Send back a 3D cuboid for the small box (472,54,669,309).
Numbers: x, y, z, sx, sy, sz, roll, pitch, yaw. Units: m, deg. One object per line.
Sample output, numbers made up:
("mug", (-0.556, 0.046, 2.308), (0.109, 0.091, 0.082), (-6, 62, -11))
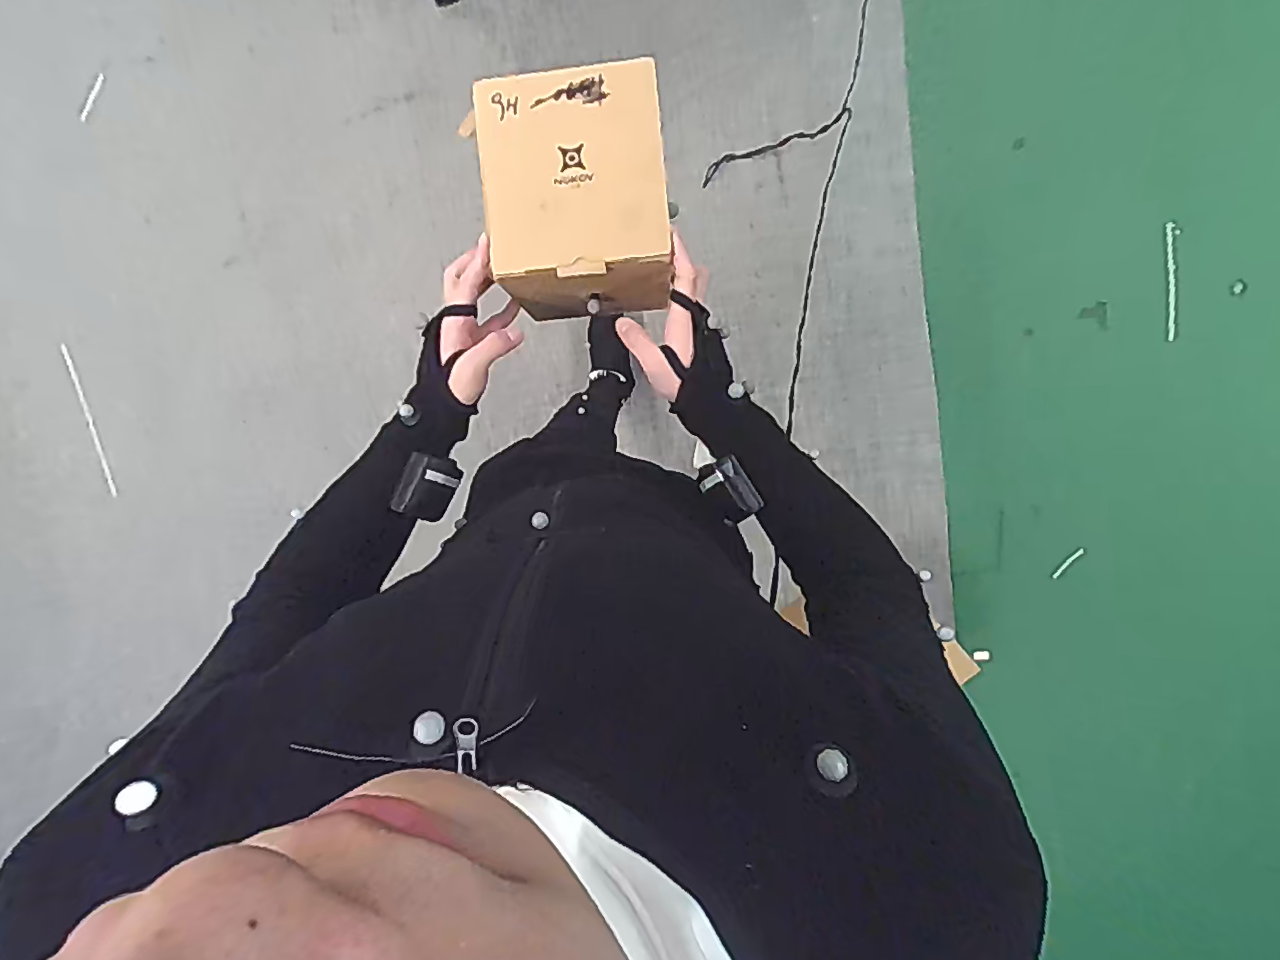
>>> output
("small box", (-0.057, -0.283, 0.558), (0.168, 0.176, 0.179), (-5, 93, 2))
